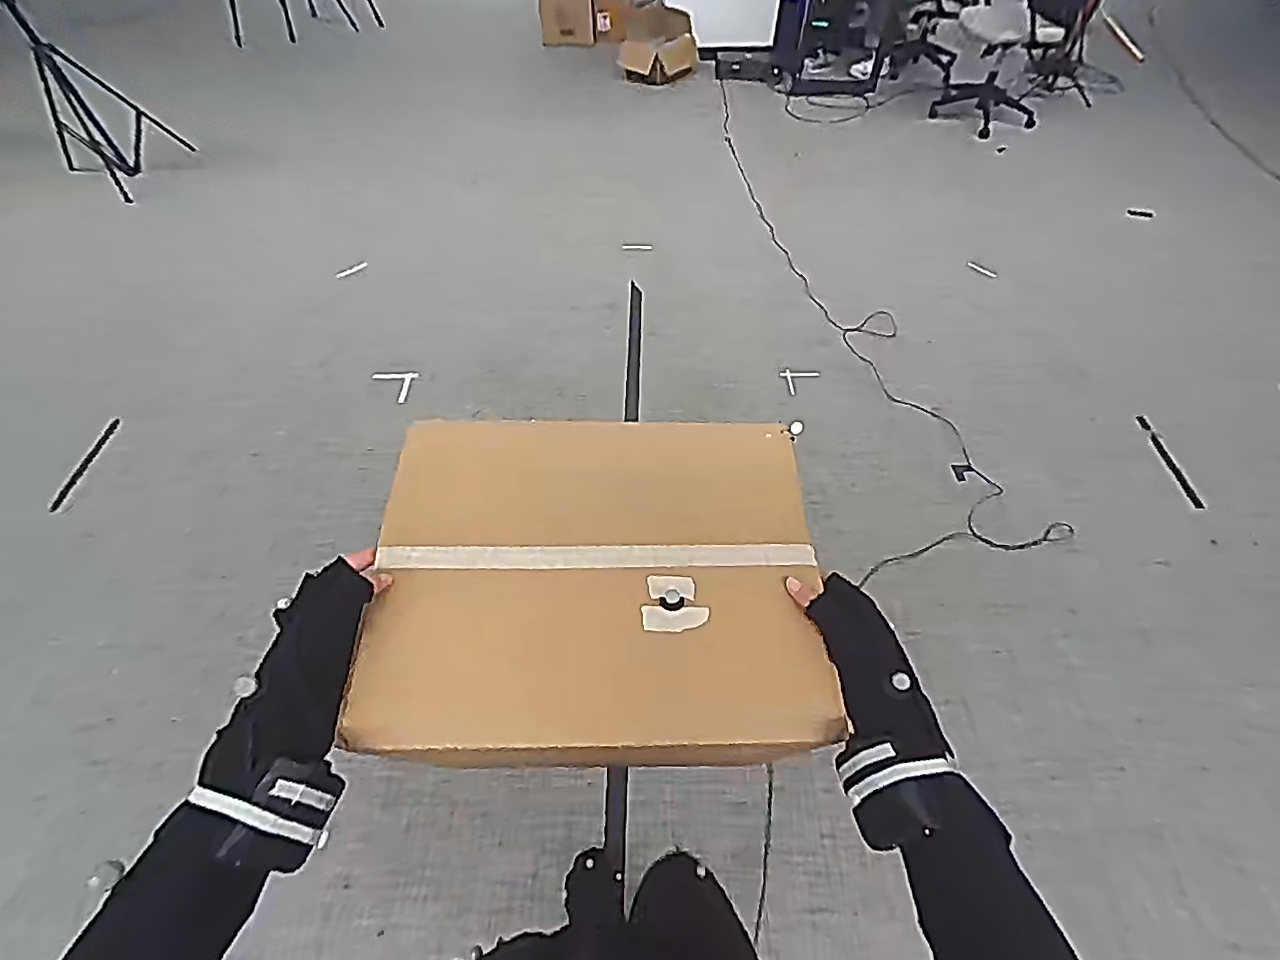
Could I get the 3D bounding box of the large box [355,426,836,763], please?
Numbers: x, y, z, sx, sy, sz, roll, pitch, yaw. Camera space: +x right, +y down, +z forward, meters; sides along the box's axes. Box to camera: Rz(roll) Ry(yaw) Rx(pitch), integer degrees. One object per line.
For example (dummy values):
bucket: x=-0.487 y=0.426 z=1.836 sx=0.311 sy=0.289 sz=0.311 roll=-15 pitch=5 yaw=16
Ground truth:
large box: x=-0.042 y=0.149 z=0.643 sx=0.408 sy=0.320 sz=0.320 roll=1 pitch=60 yaw=-2
